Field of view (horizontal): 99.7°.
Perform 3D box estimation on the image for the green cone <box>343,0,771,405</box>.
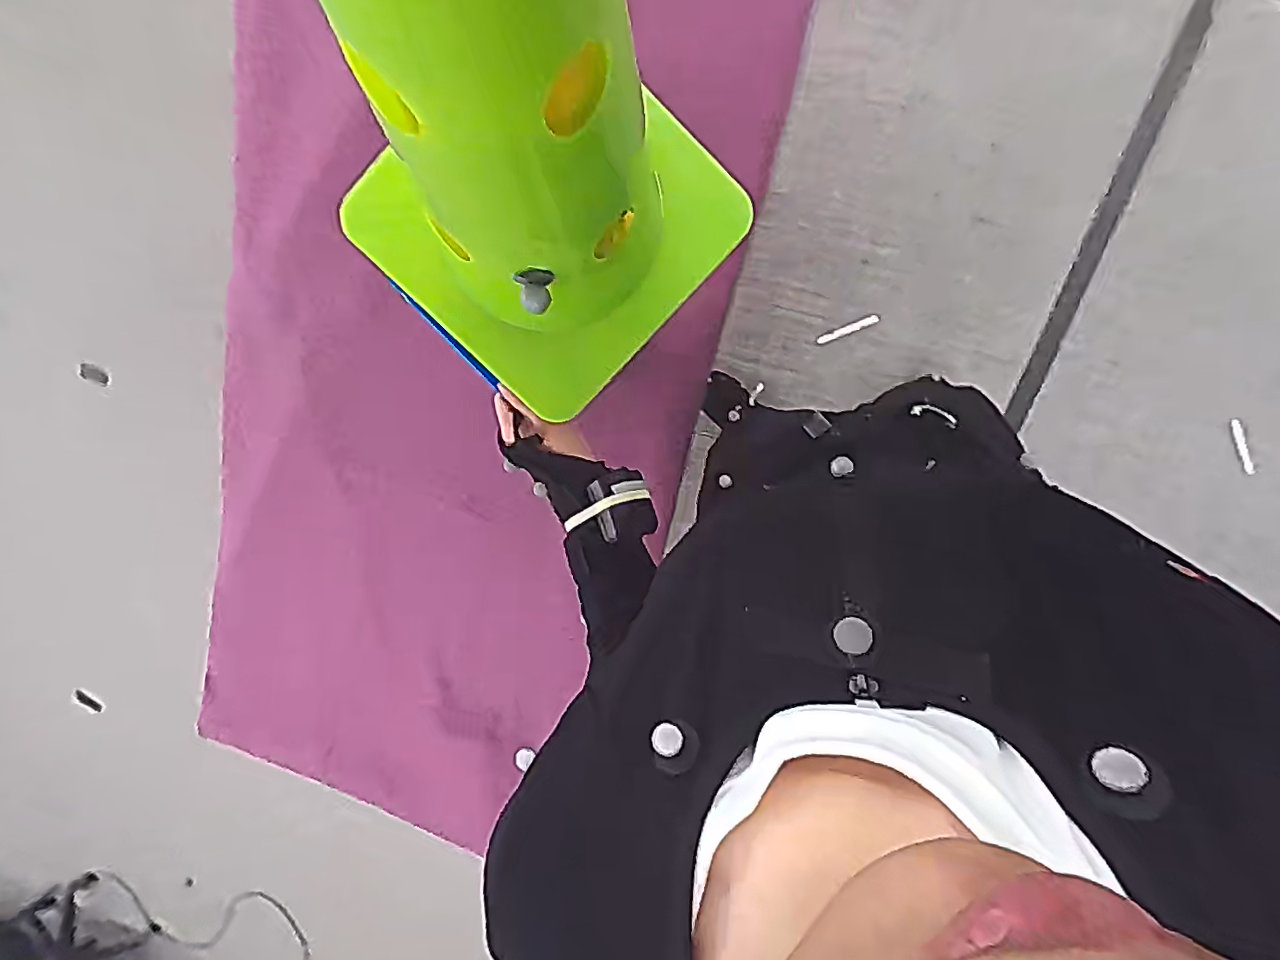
[{"bbox_3d":[-0.038,-0.156,0.161,0.202,0.368,0.200,43,93,-7],"label":"green cone"}]
